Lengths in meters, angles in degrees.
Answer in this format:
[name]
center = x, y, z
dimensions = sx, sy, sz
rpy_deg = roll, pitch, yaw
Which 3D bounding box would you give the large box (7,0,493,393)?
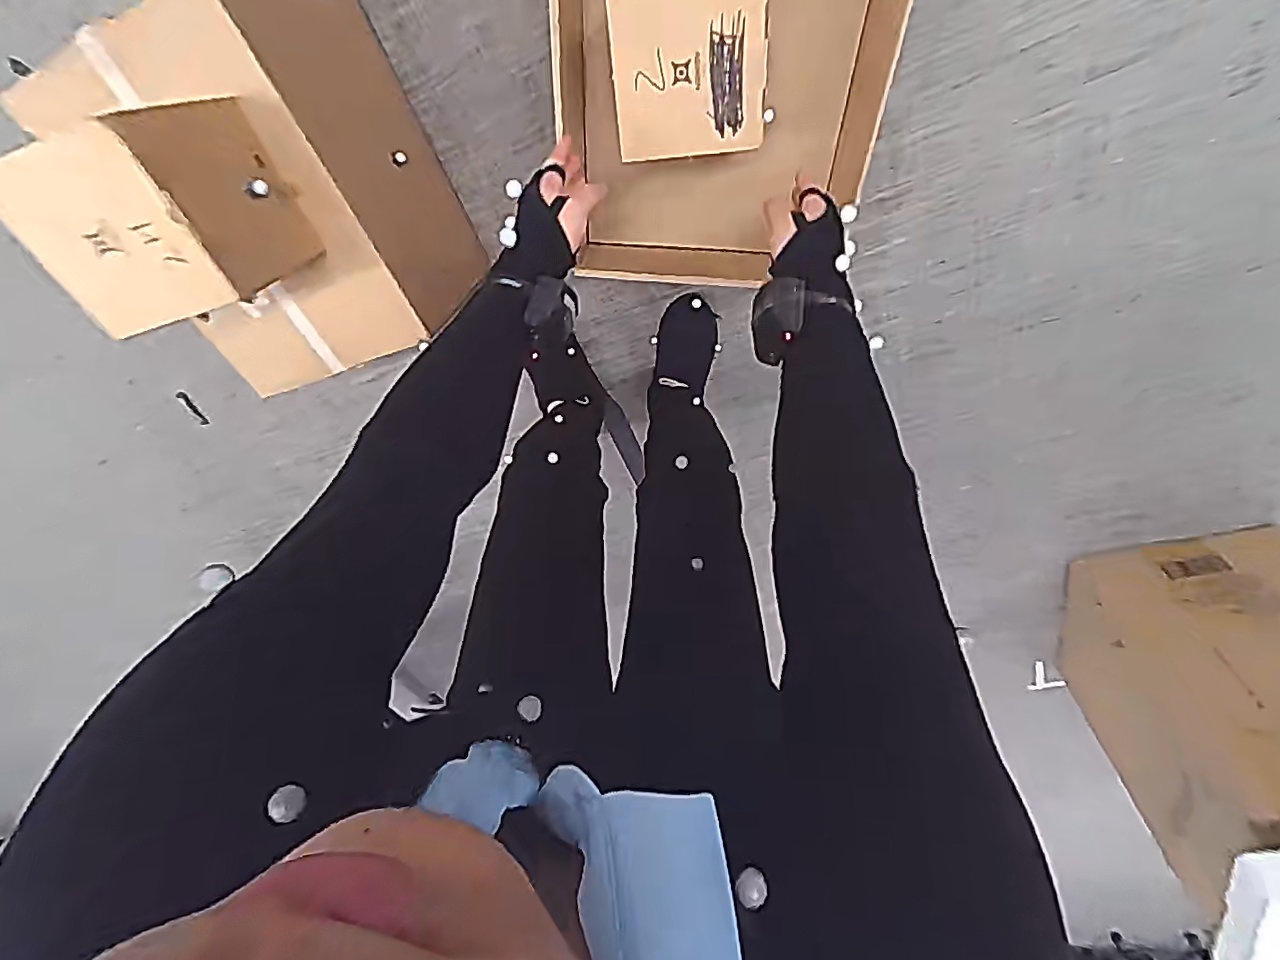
[large box]
center = -0.476, -0.405, 0.777
dimensions = 0.320, 0.320, 0.408
rpy_deg = -13, 128, 17

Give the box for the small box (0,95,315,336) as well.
[small box]
center = -0.494, -0.276, 0.565
dimensions = 0.179, 0.176, 0.168
rpy_deg = -11, 128, 13
